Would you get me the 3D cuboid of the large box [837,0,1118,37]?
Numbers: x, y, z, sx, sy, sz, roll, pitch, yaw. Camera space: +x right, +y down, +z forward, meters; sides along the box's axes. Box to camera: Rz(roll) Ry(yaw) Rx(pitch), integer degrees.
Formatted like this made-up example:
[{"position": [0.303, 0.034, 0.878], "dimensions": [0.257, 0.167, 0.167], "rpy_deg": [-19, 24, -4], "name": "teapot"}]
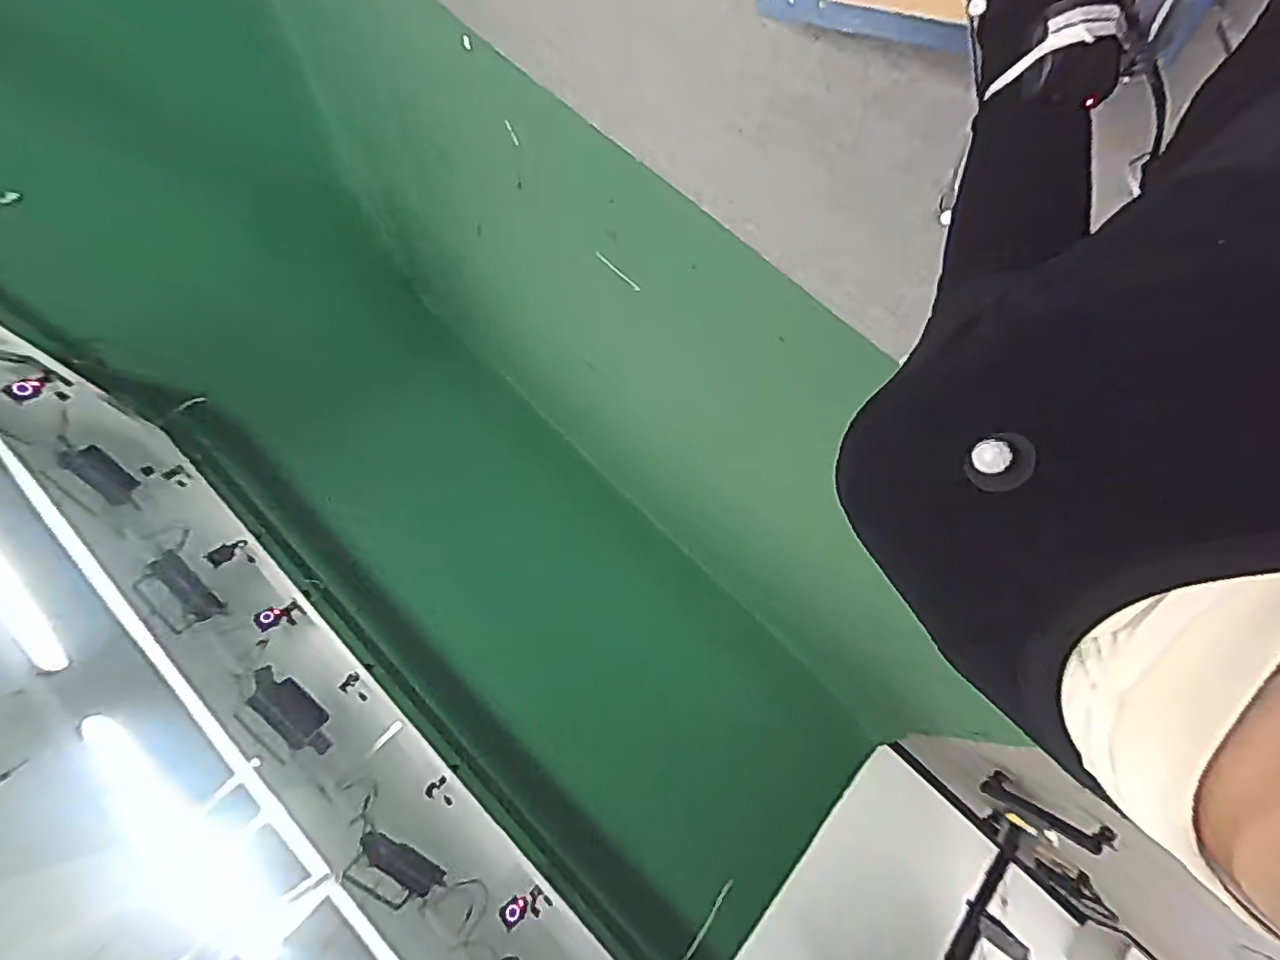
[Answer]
[{"position": [0.563, -0.908, 0.773], "dimensions": [0.408, 0.320, 0.320], "rpy_deg": [37, 158, 26], "name": "large box"}]
